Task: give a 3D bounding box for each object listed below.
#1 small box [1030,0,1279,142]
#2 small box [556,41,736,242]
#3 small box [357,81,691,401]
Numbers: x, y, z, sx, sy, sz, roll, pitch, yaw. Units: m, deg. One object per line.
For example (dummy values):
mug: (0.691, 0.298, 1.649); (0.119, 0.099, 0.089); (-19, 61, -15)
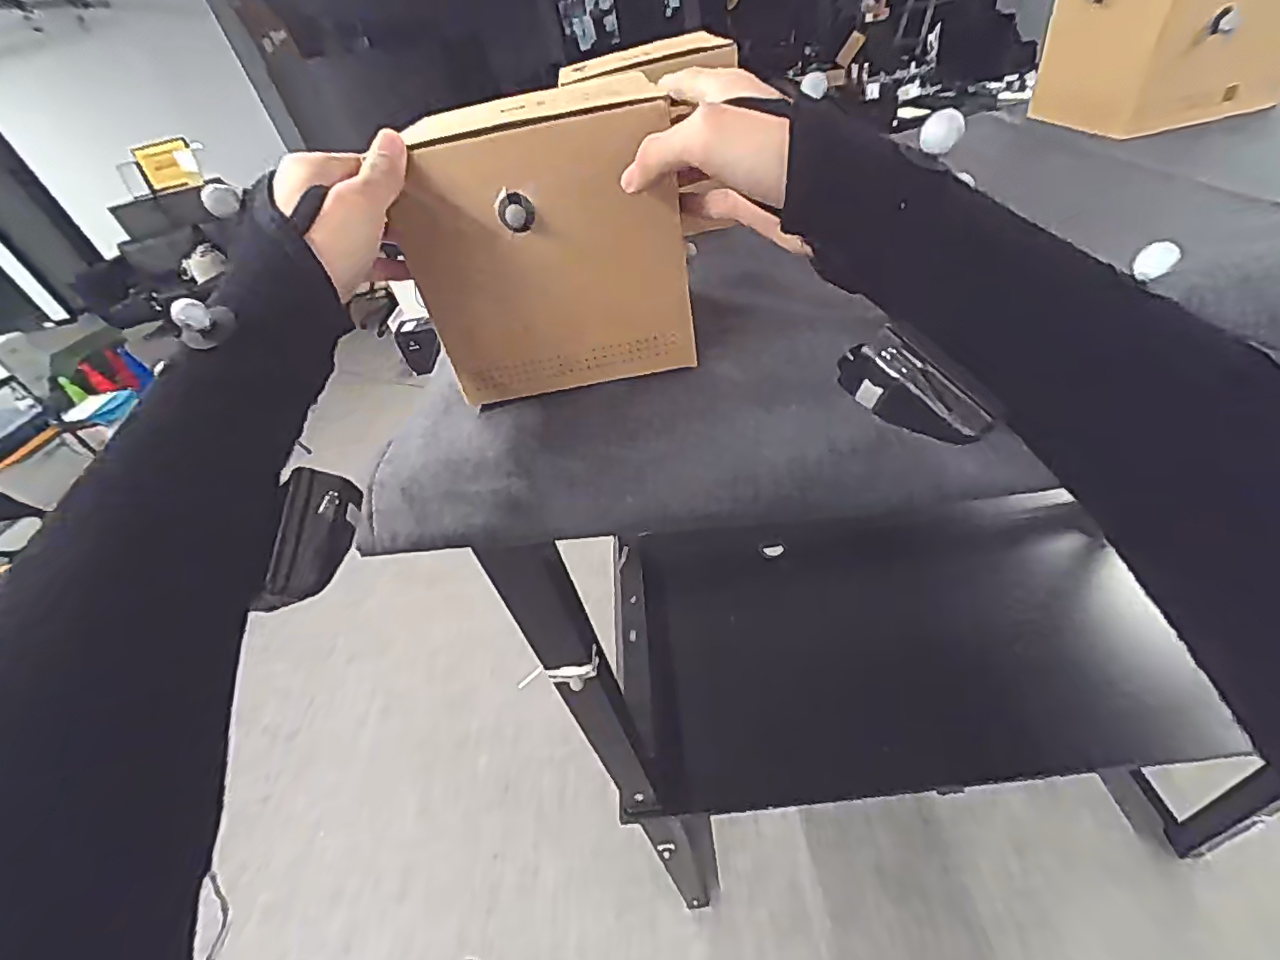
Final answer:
small box: (0.576, -0.489, 0.589); (0.168, 0.176, 0.179); (-11, 41, 4)
small box: (0.011, -0.381, 0.626); (0.179, 0.176, 0.168); (-11, 41, 2)
small box: (-0.065, -0.176, 0.405); (0.179, 0.176, 0.168); (-10, 40, 2)
